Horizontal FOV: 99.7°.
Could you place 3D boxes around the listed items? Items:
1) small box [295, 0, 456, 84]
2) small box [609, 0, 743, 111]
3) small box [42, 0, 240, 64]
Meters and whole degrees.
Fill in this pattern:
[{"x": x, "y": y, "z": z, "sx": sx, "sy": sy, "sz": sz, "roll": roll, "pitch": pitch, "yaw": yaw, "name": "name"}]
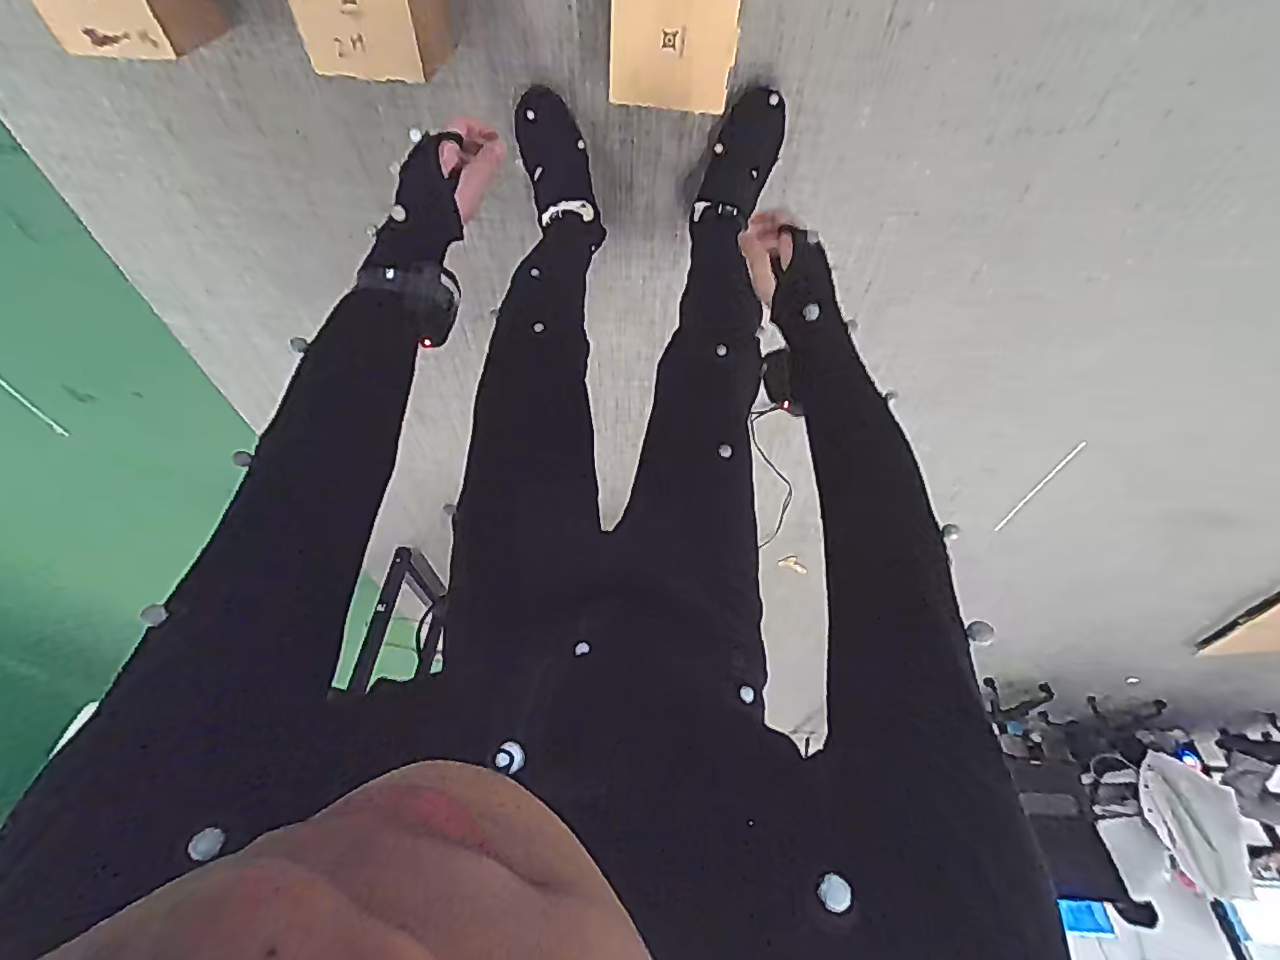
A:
[{"x": -0.382, "y": -0.709, "z": 0.780, "sx": 0.168, "sy": 0.176, "sz": 0.179, "roll": 5, "pitch": 143, "yaw": 0, "name": "small box"}, {"x": 0.050, "y": -0.671, "z": 0.790, "sx": 0.179, "sy": 0.176, "sz": 0.168, "roll": 4, "pitch": 143, "yaw": -1, "name": "small box"}, {"x": -0.740, "y": -0.736, "z": 0.780, "sx": 0.168, "sy": 0.176, "sz": 0.179, "roll": 4, "pitch": 142, "yaw": 1, "name": "small box"}]
